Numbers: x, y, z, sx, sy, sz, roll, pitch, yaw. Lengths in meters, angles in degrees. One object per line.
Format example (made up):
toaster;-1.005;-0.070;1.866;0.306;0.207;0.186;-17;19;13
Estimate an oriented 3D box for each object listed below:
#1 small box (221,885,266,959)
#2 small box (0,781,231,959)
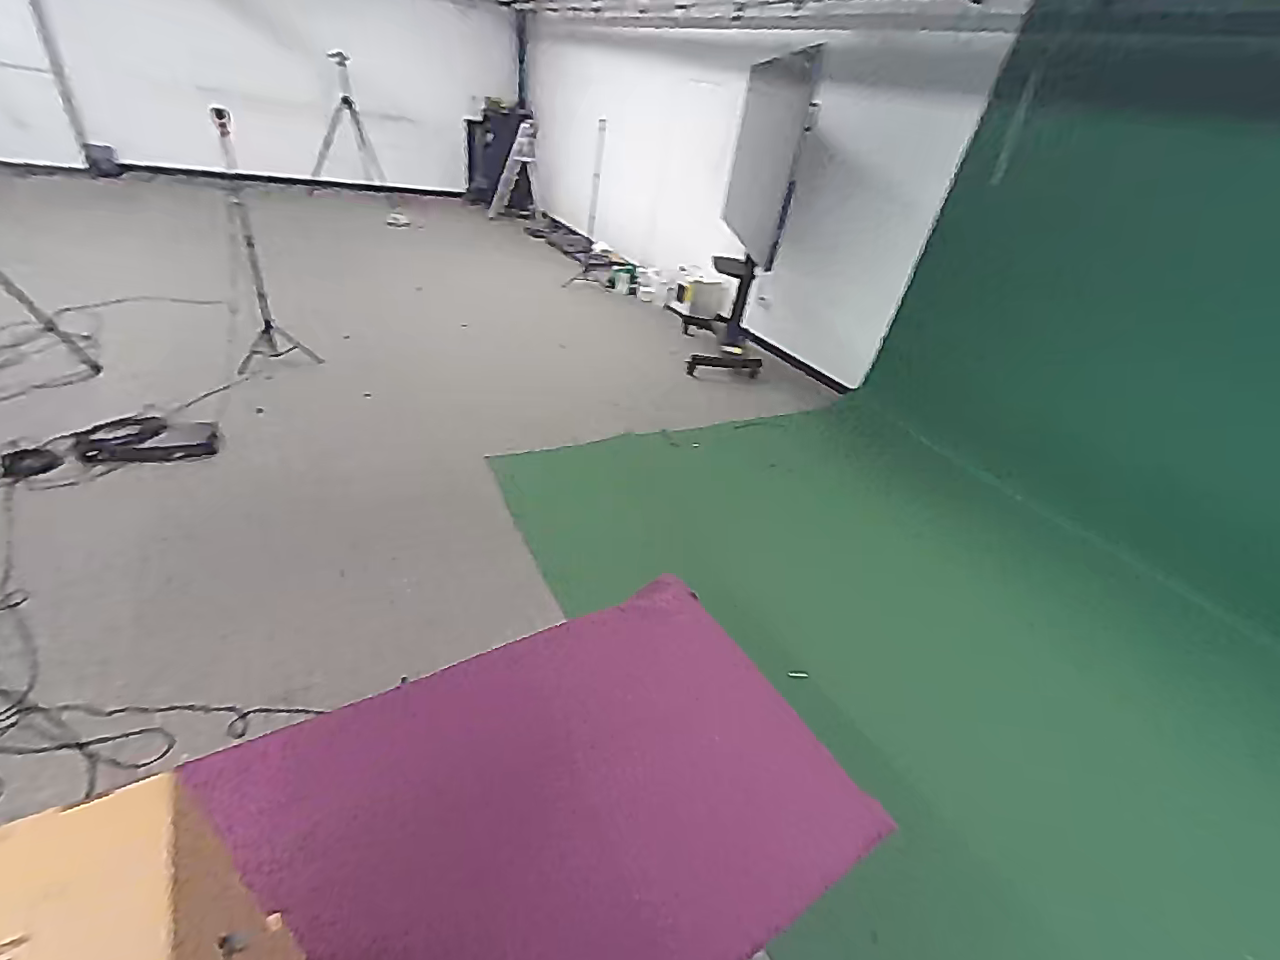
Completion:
small box;-0.408;0.487;0.433;0.168;0.176;0.179;-12;41;-32
small box;-0.384;0.348;0.347;0.168;0.176;0.179;-13;41;-32
